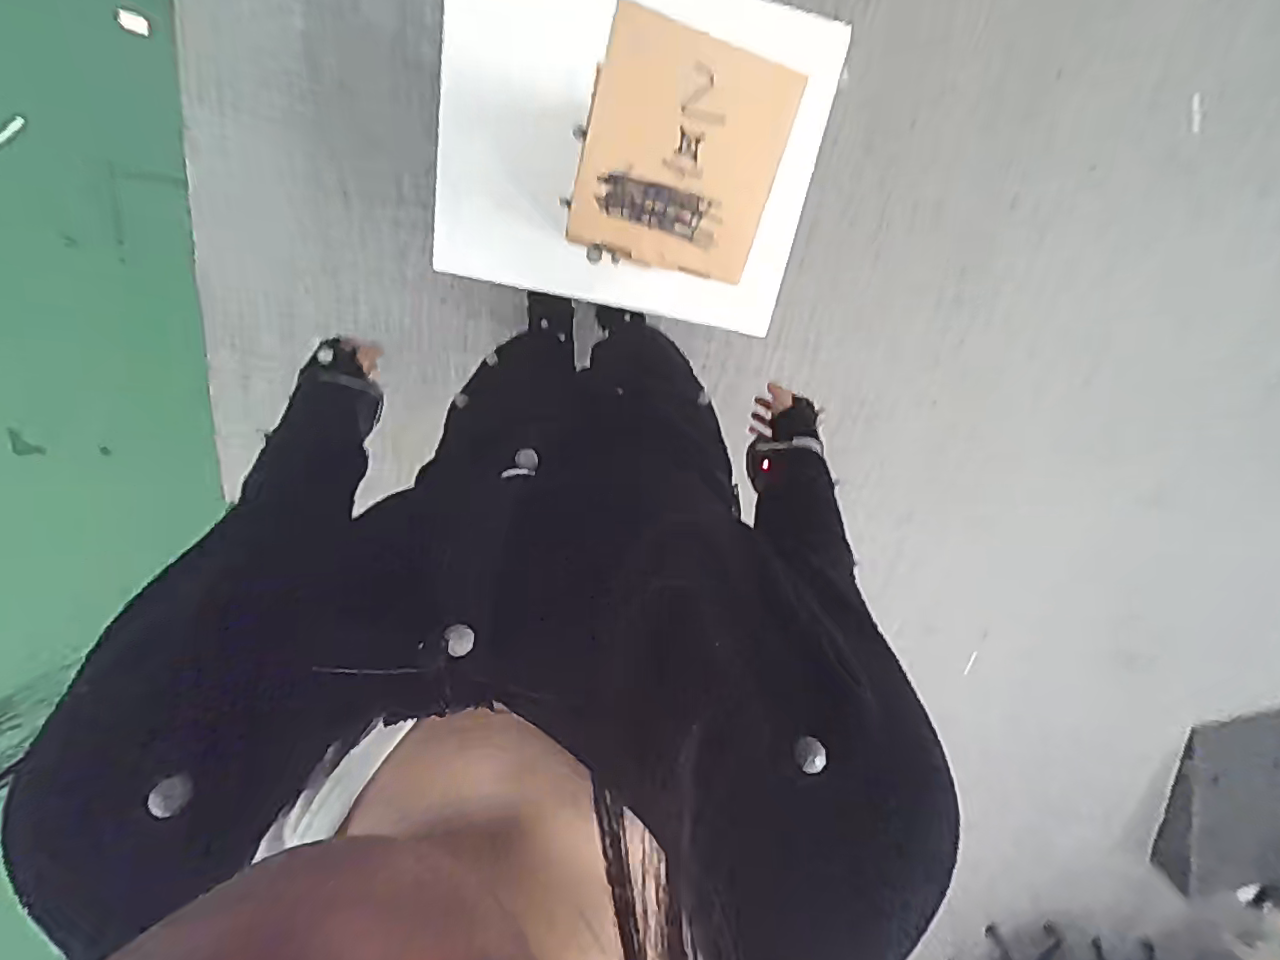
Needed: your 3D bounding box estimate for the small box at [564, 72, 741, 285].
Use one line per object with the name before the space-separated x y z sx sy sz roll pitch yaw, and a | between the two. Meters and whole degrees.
small box | 0.003 -0.355 0.671 0.168 0.176 0.179 11 111 -11
